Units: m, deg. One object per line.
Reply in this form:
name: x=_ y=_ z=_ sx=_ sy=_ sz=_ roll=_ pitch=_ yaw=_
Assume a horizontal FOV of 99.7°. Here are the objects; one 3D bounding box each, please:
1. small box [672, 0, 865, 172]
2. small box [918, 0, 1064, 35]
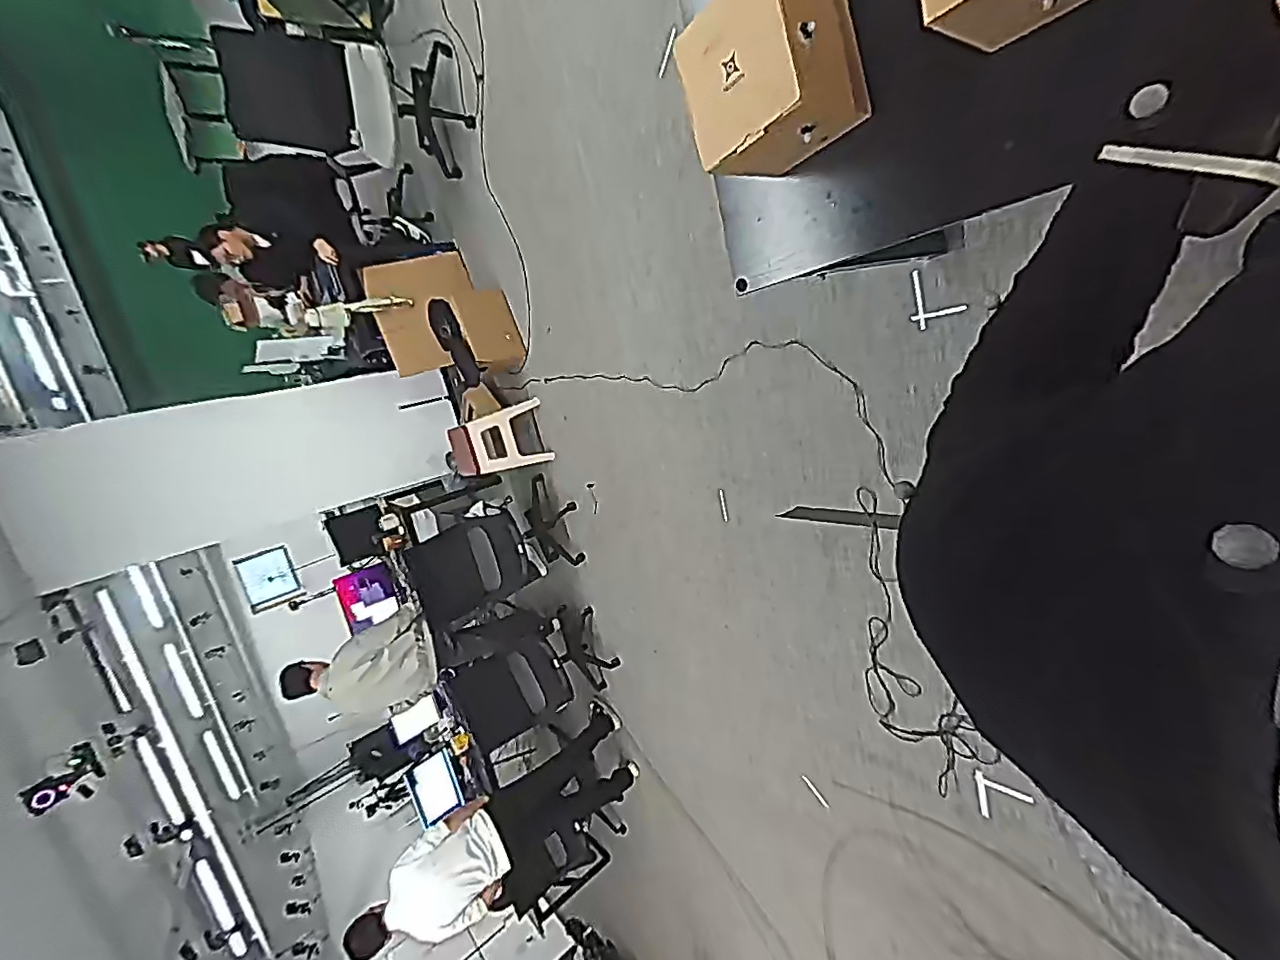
small box: x=0.175 y=-0.541 z=0.724 sx=0.168 sy=0.176 sz=0.179 roll=-7 pitch=101 yaw=53
small box: x=0.359 y=-0.537 z=0.478 sx=0.168 sy=0.176 sz=0.179 roll=3 pitch=110 yaw=52
